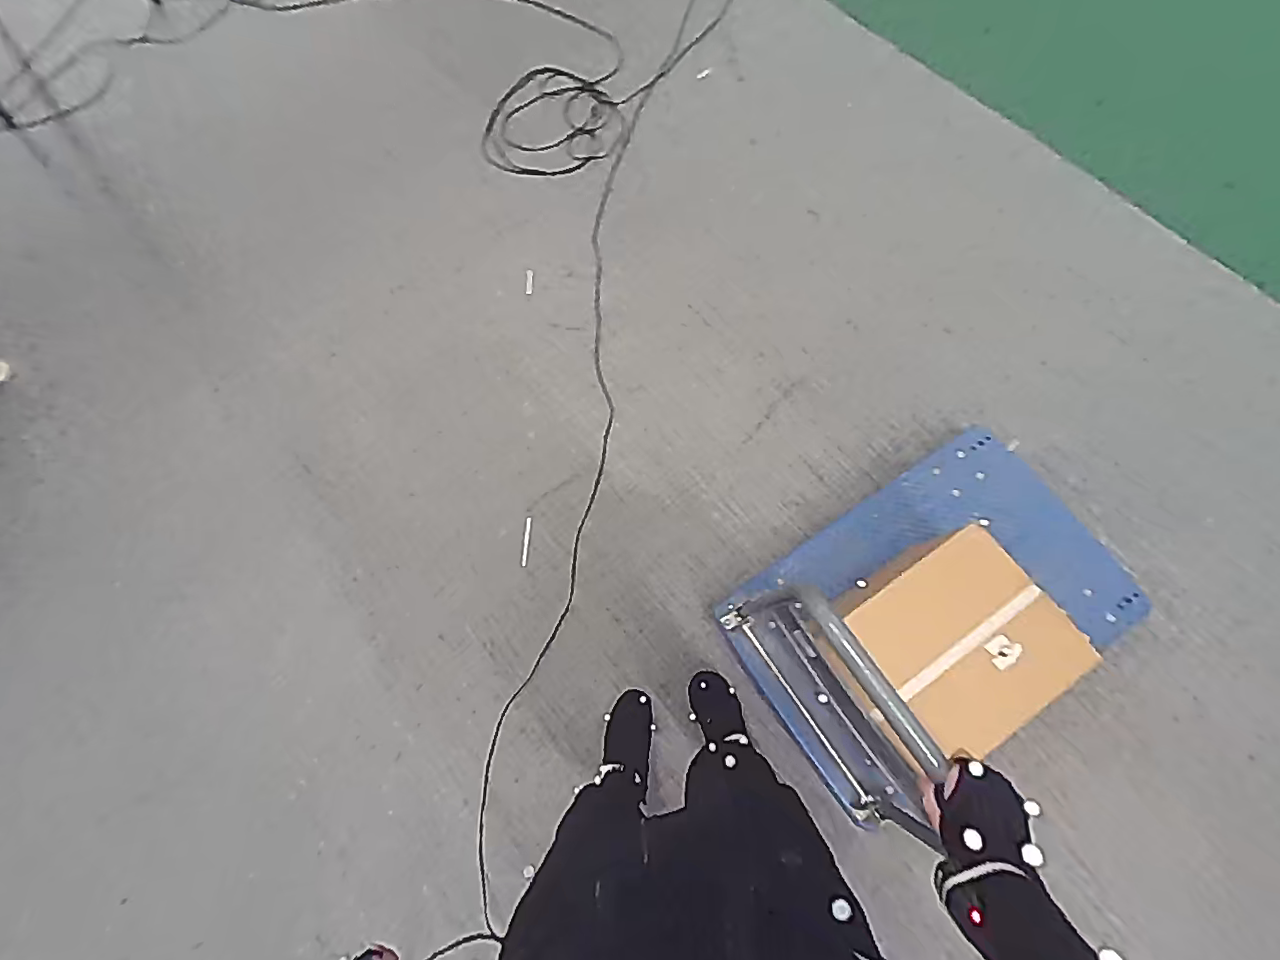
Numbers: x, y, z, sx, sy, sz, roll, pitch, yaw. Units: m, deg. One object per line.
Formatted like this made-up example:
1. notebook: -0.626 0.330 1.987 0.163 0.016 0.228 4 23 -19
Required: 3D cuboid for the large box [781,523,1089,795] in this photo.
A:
1. large box: 0.568 0.355 1.124 0.408 0.320 0.320 -34 75 -7
